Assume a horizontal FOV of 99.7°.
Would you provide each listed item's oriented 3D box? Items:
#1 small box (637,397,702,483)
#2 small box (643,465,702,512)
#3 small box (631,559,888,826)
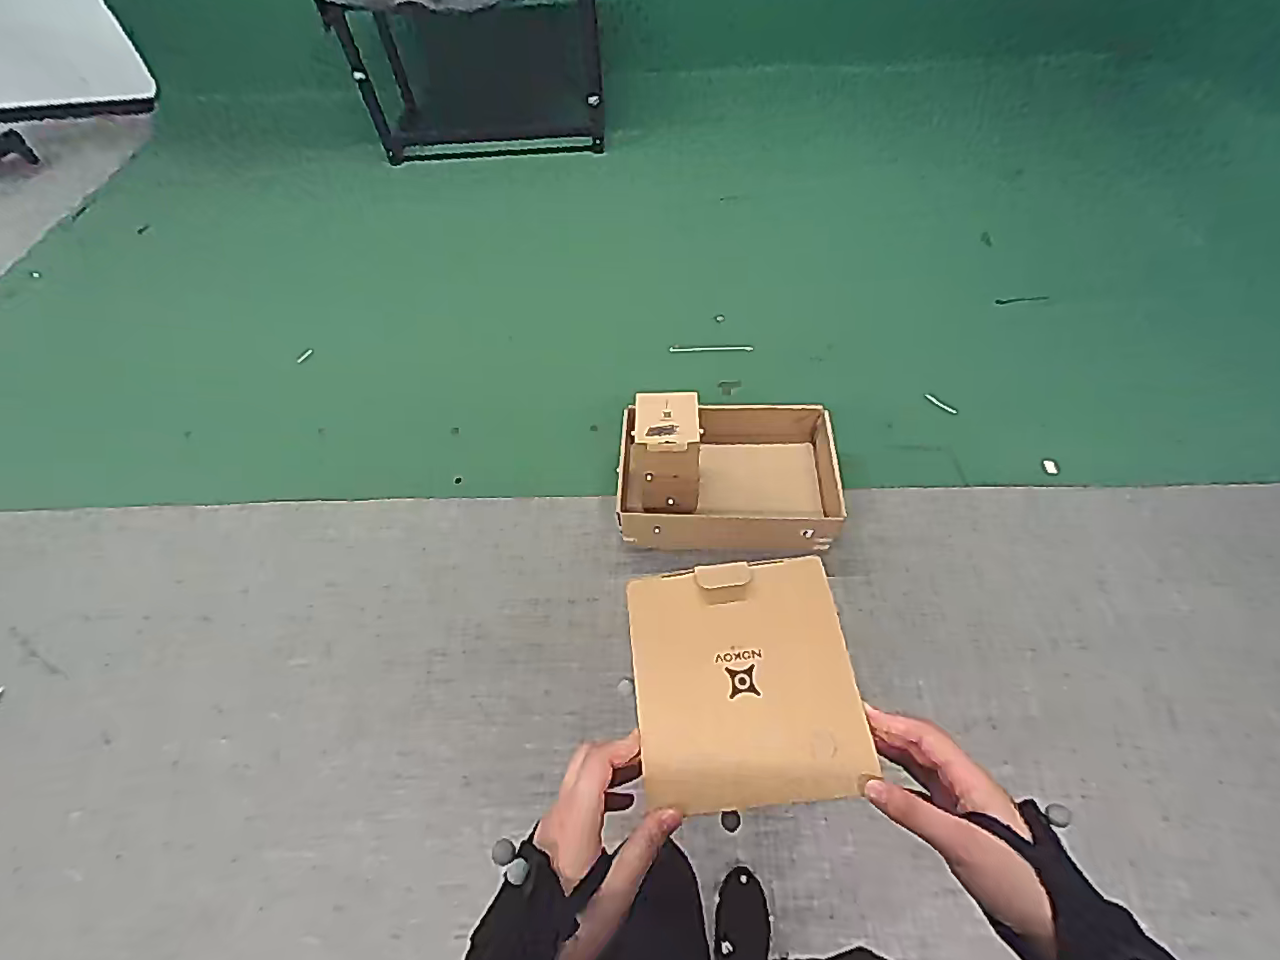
[{"bbox_3d":[0.080,-0.104,1.454,0.168,0.176,0.179,0,56,3],"label":"small box"},{"bbox_3d":[0.094,-0.022,1.596,0.168,0.176,0.179,-2,56,3],"label":"small box"},{"bbox_3d":[0.088,0.189,0.475,0.168,0.176,0.179,-8,59,2],"label":"small box"}]
